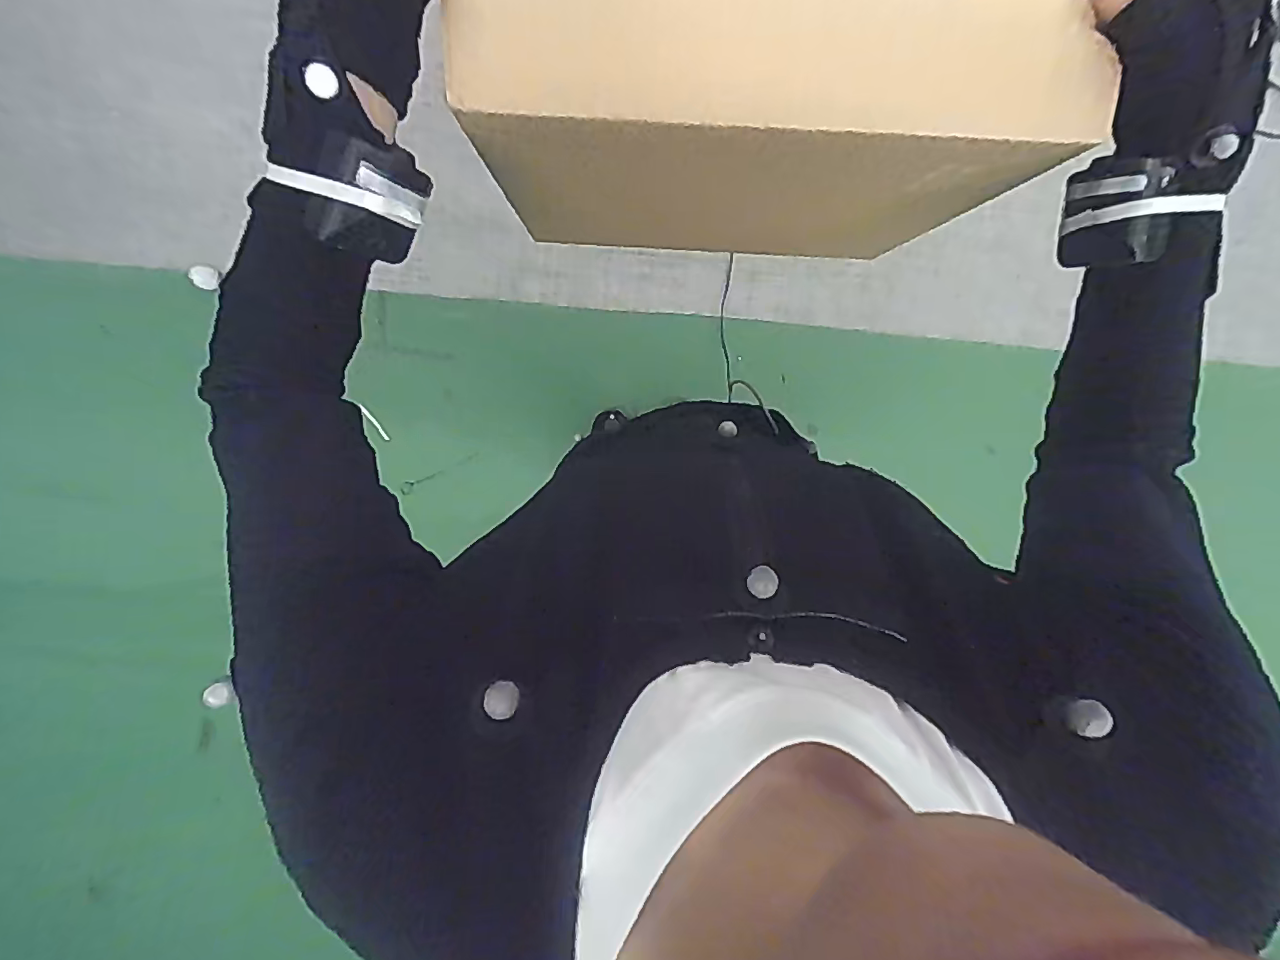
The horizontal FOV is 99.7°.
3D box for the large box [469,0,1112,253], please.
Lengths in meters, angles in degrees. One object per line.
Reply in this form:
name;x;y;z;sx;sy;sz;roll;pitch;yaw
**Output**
large box;0.088;-0.396;0.462;0.408;0.320;0.320;1;100;-3
